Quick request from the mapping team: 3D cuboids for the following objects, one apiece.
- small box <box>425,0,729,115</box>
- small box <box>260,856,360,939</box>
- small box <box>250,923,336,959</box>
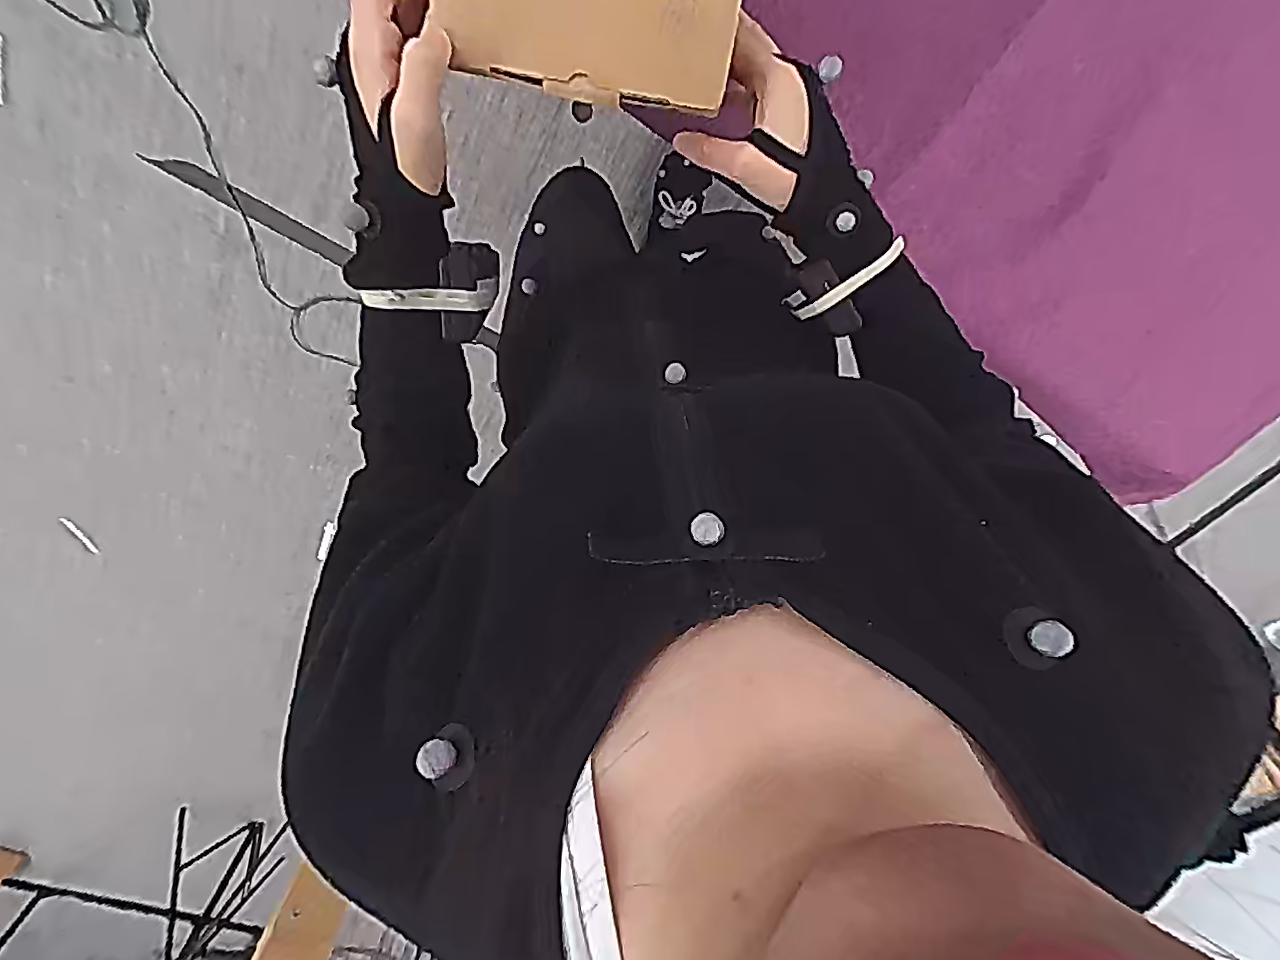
[{"bbox_3d":[-0.029,-0.344,0.328,0.168,0.176,0.179,5,126,-8],"label":"small box"},{"bbox_3d":[-0.974,1.256,1.608,0.179,0.176,0.168,30,117,-18],"label":"small box"},{"bbox_3d":[-0.974,1.343,1.471,0.179,0.176,0.168,30,116,-18],"label":"small box"}]
